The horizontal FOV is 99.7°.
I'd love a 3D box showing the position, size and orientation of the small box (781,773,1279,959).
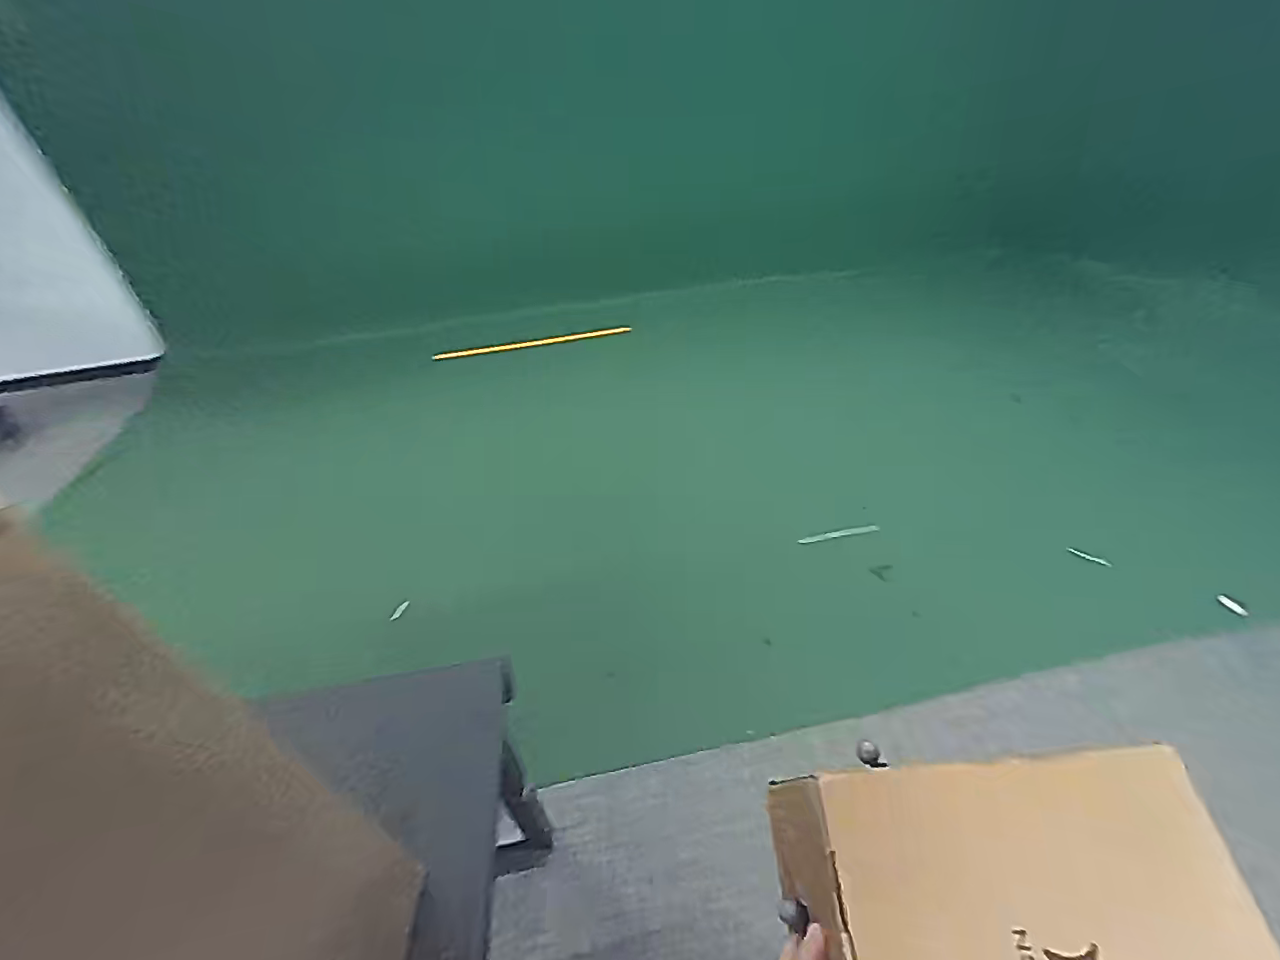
[{"bbox_3d":[0.189,0.258,0.292,0.179,0.176,0.168,-6,58,2],"label":"small box"}]
